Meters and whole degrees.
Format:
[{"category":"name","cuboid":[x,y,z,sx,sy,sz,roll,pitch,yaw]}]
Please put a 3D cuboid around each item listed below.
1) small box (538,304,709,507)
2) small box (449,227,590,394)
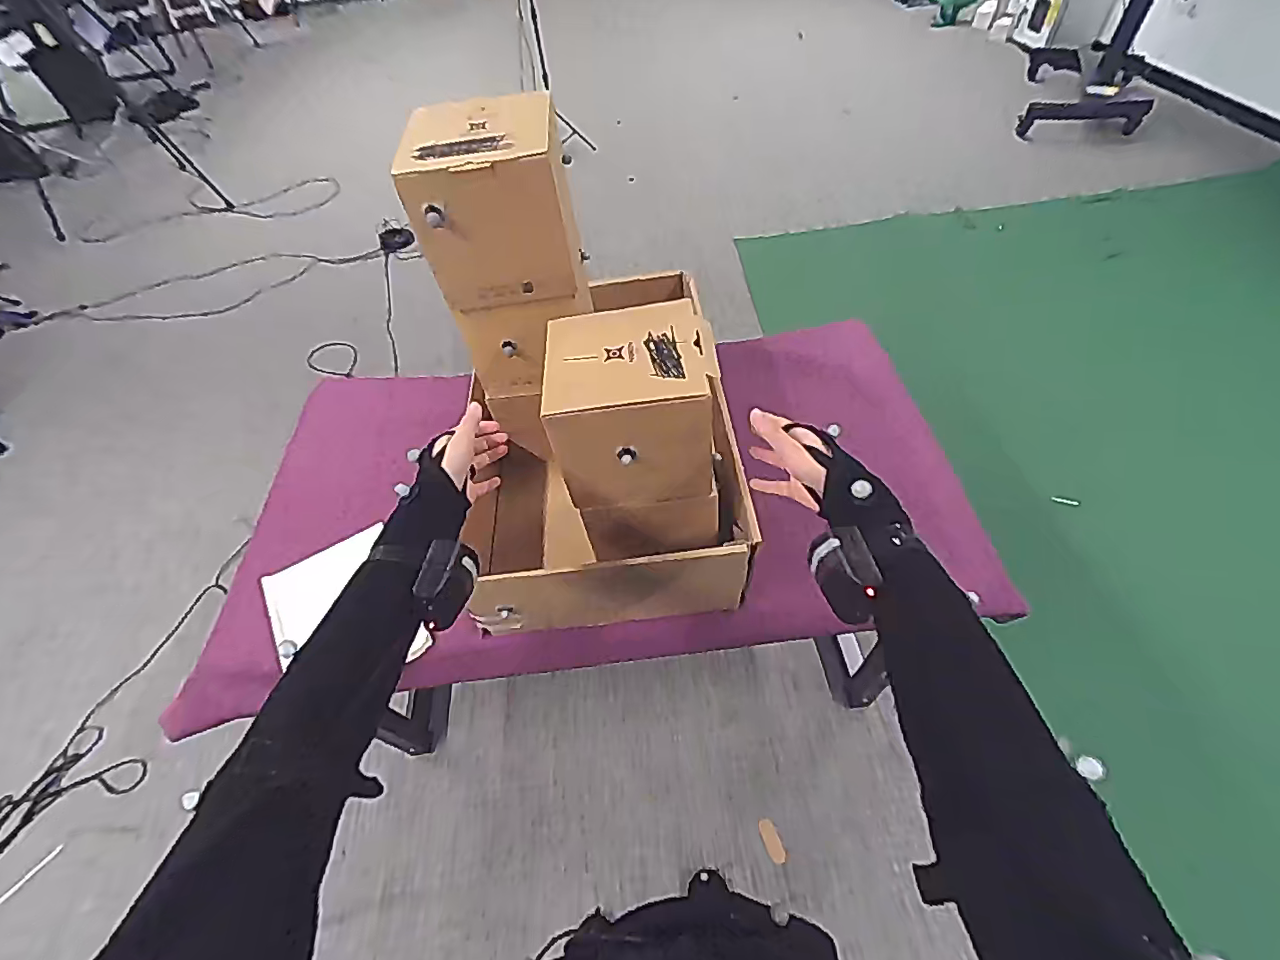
[{"category":"small box","cuboid":[-0.012,-0.085,0.655,0.179,0.176,0.168,-7,50,4]},{"category":"small box","cuboid":[-0.163,-0.243,0.804,0.168,0.176,0.179,-6,53,2]}]
